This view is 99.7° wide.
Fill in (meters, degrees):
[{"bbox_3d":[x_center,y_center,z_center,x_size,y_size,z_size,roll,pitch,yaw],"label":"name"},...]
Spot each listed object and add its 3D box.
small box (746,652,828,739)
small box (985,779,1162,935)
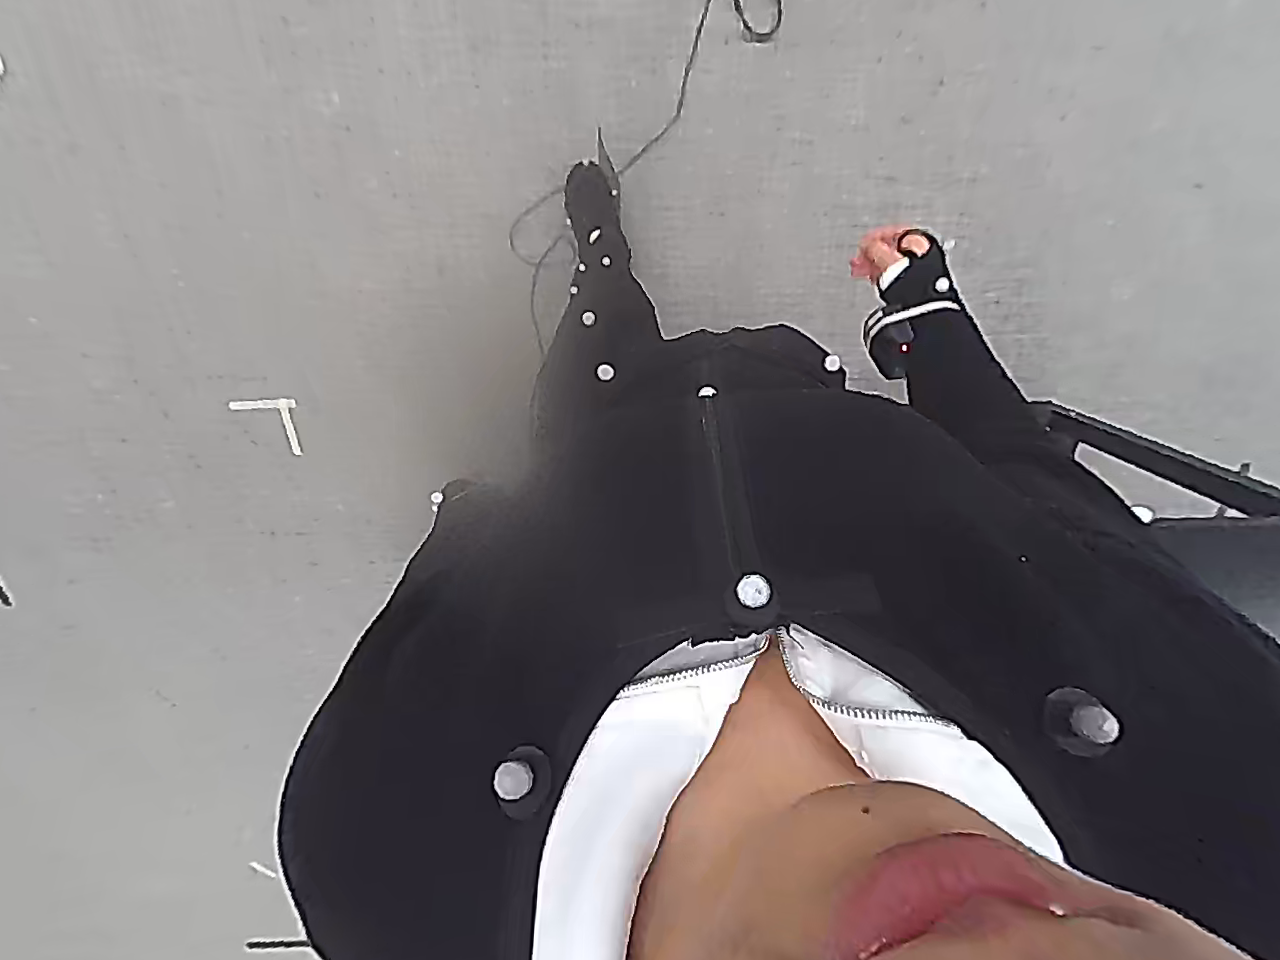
[{"bbox_3d":[0.478,0.702,1.778,0.179,0.176,0.168,41,106,-17],"label":"small box"},{"bbox_3d":[0.771,0.682,0.987,0.168,0.176,0.179,-2,113,-2],"label":"small box"}]
